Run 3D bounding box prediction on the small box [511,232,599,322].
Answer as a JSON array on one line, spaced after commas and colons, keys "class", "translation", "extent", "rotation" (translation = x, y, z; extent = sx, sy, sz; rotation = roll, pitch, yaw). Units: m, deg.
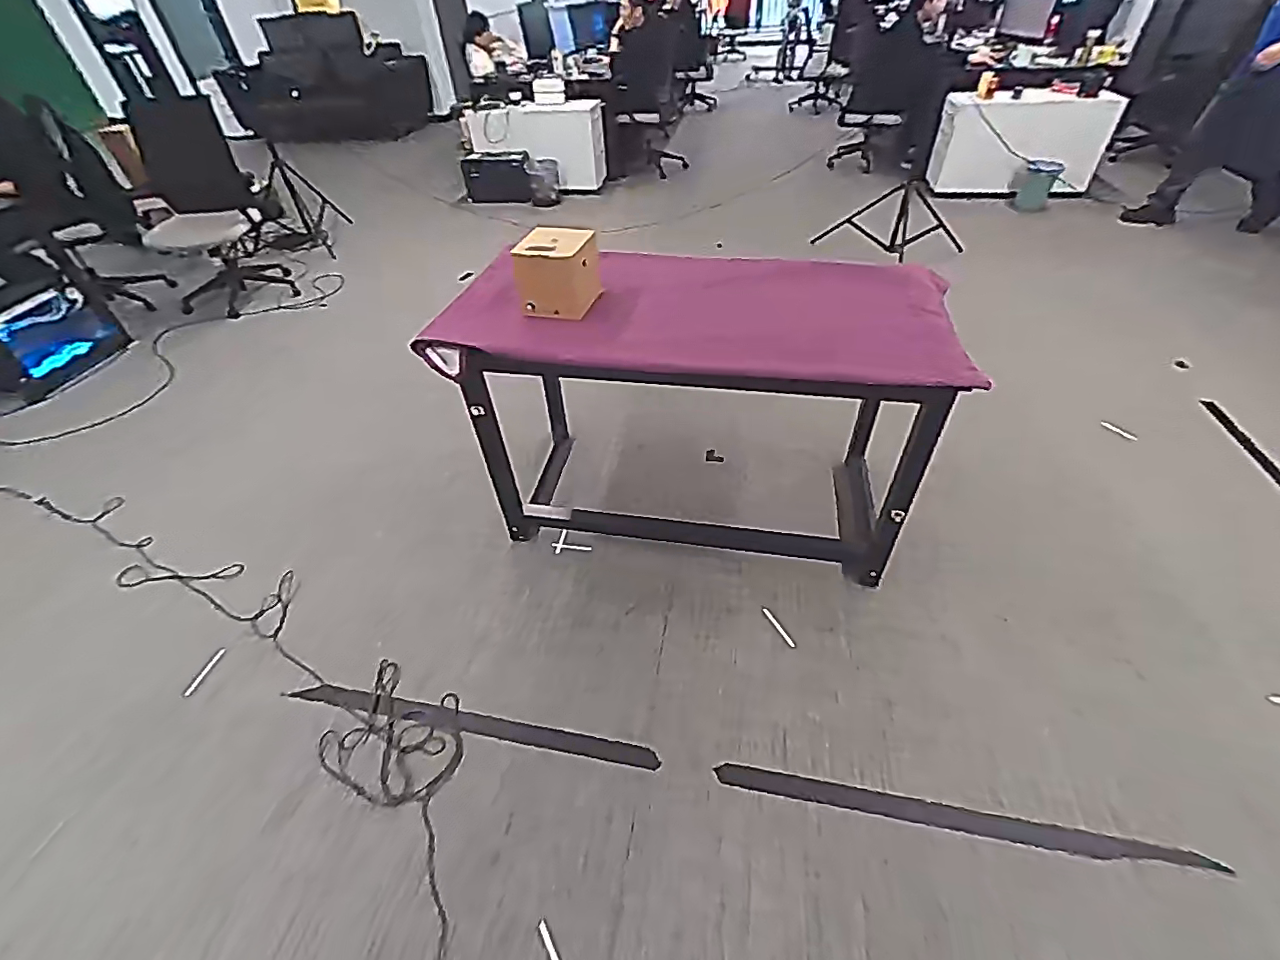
[{"class": "small box", "translation": [-0.214, -0.533, 1.422], "extent": [0.168, 0.176, 0.179], "rotation": [10, 45, 13]}]
